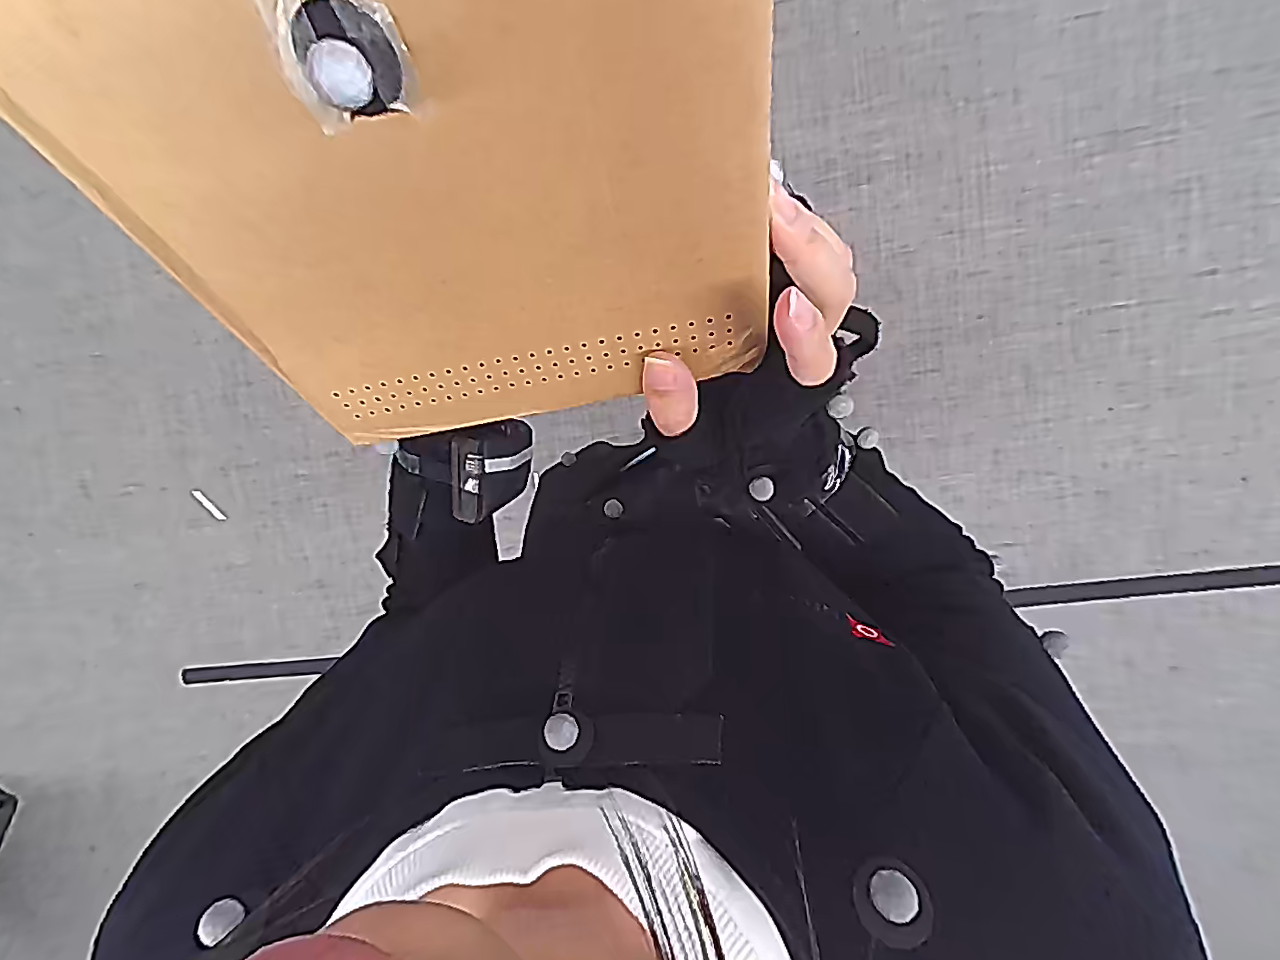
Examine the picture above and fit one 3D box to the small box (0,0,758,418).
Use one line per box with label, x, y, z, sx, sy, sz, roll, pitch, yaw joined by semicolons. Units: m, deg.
small box;-0.054;-0.143;0.214;0.179;0.176;0.168;-9;57;7
